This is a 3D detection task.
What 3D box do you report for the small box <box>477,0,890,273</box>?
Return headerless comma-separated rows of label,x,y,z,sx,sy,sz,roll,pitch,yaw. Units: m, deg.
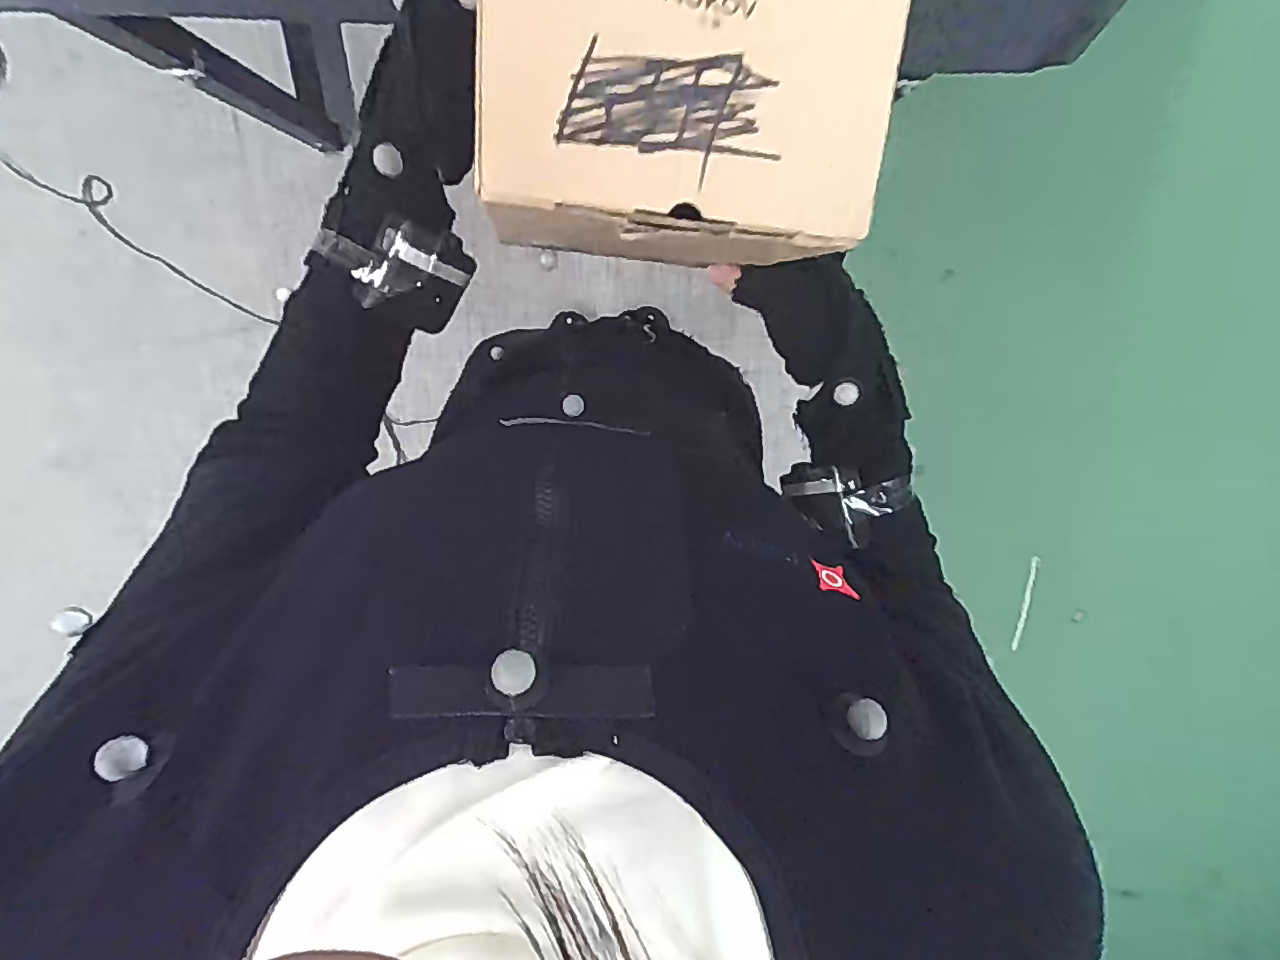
small box,0.008,-0.214,0.288,0.168,0.176,0.179,3,106,-12
